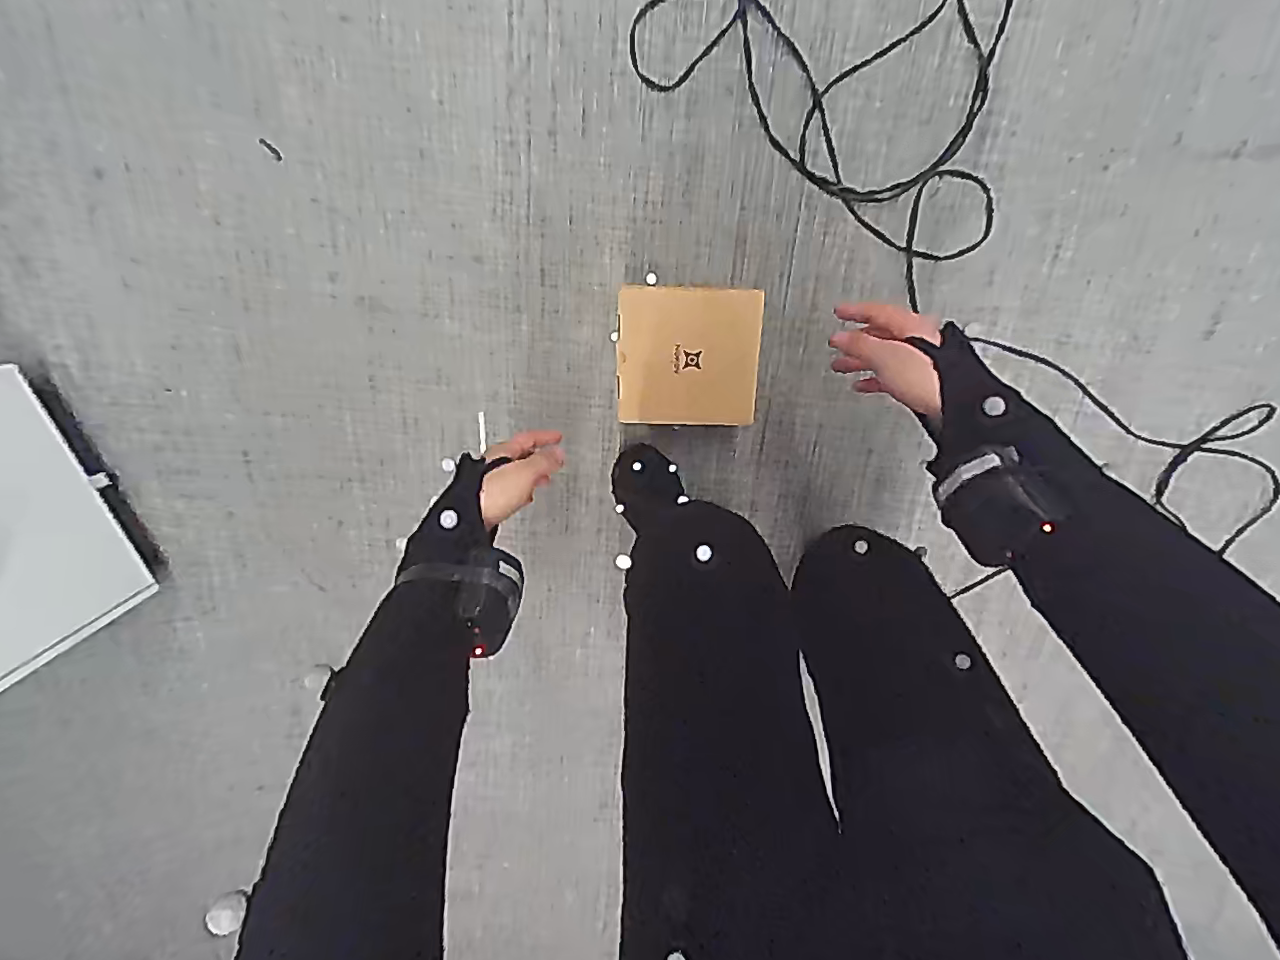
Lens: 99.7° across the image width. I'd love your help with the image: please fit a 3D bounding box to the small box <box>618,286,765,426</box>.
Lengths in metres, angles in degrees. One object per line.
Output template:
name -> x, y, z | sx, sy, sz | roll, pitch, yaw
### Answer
small box -> 0.061, -0.177, 0.745 | 0.179, 0.176, 0.168 | 1, 111, 1
